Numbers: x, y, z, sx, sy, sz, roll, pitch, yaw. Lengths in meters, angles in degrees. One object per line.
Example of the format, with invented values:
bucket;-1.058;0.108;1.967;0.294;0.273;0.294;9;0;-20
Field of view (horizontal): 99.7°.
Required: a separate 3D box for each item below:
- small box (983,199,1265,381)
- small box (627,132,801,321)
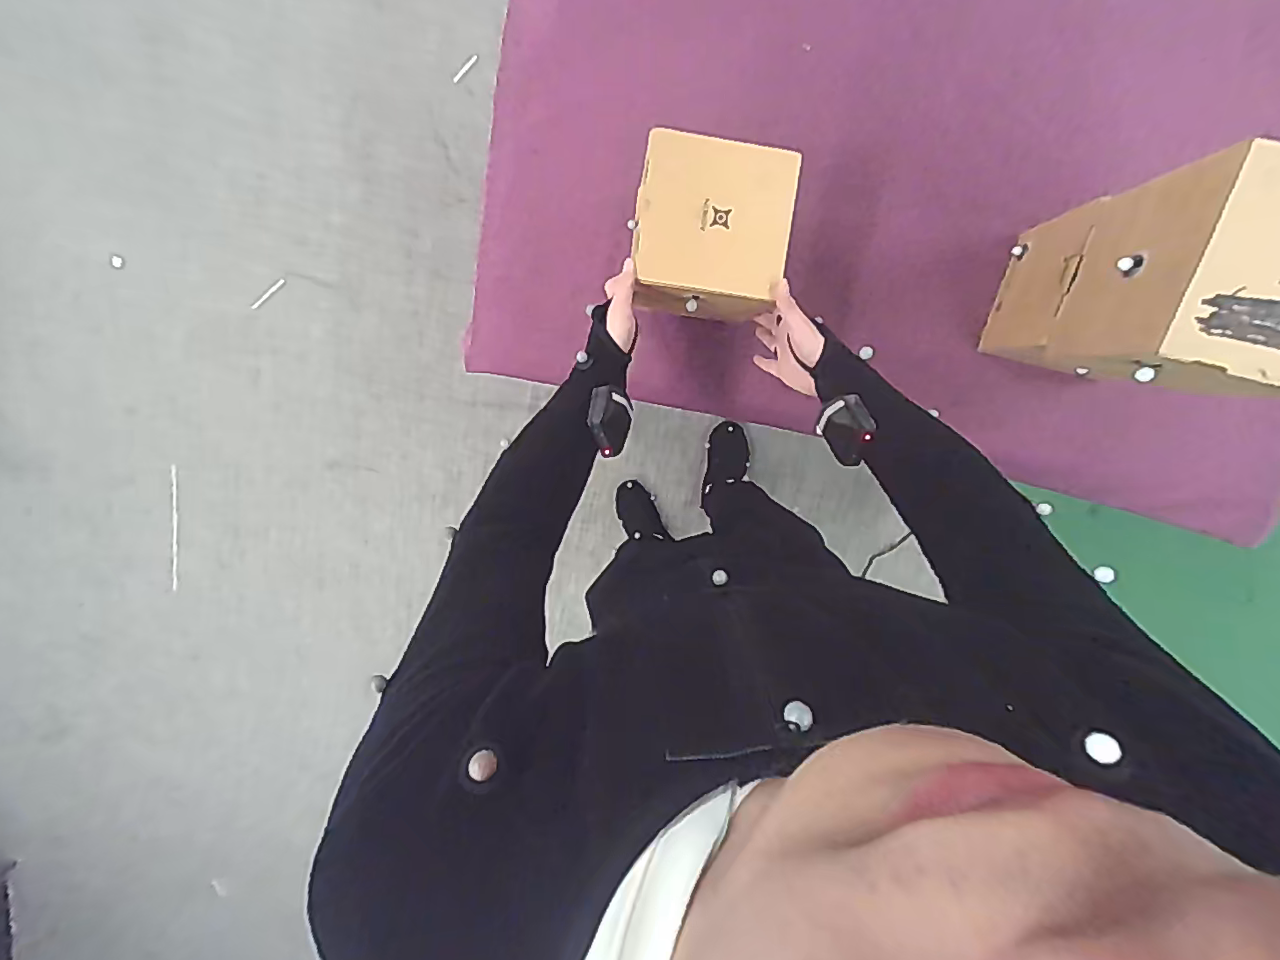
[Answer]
small box;0.577;-0.224;0.679;0.179;0.176;0.168;15;103;4
small box;0.082;-0.305;0.692;0.179;0.176;0.168;6;97;-4
